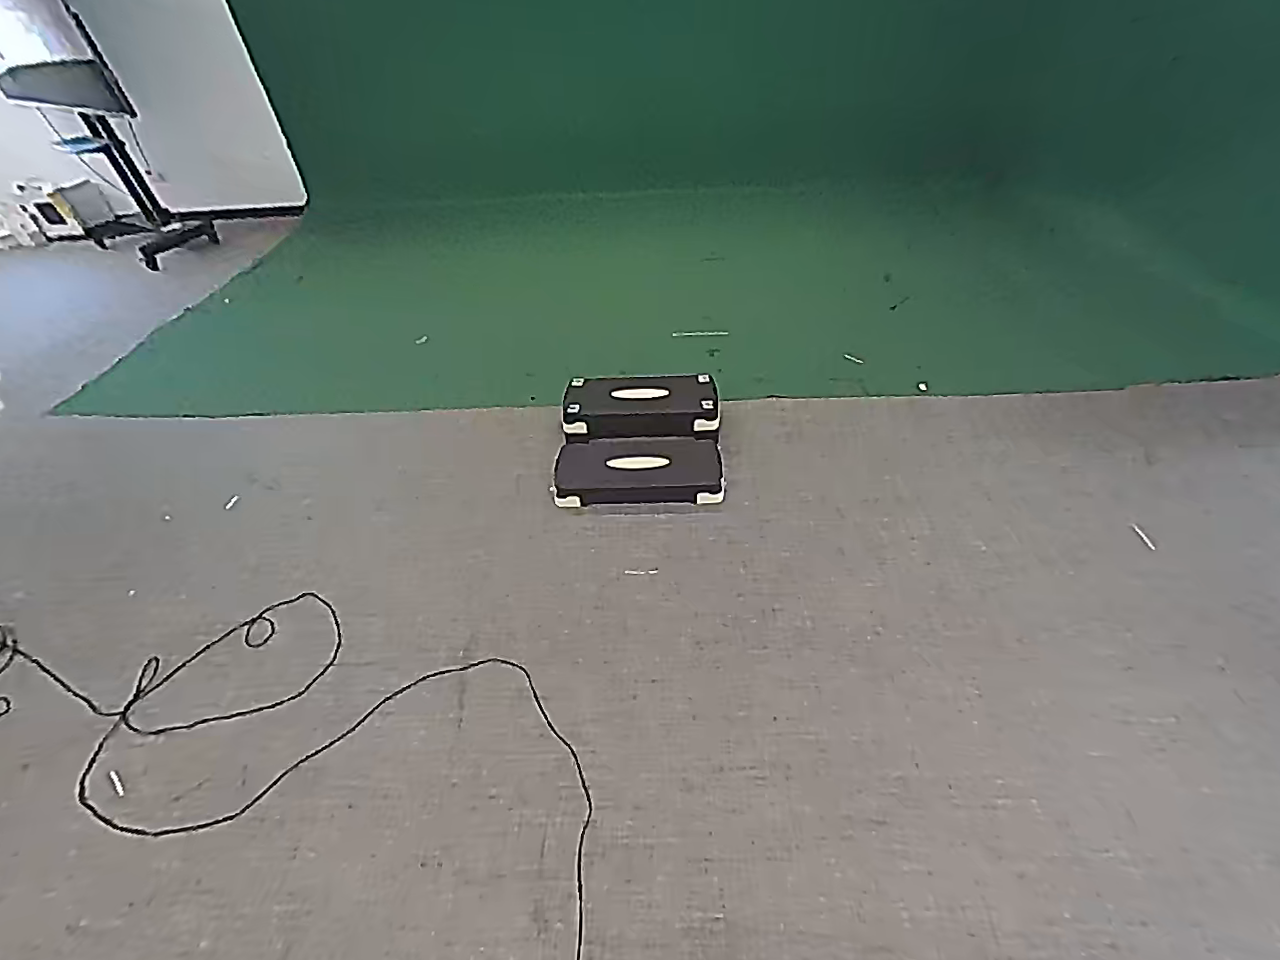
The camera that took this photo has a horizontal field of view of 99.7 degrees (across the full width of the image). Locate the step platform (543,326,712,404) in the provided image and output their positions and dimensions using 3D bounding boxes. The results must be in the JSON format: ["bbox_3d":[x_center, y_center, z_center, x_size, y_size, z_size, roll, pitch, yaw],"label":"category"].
[{"bbox_3d":[-0.047,-0.479,2.260,0.684,0.204,0.286,-2,44,3],"label":"step platform"}]
